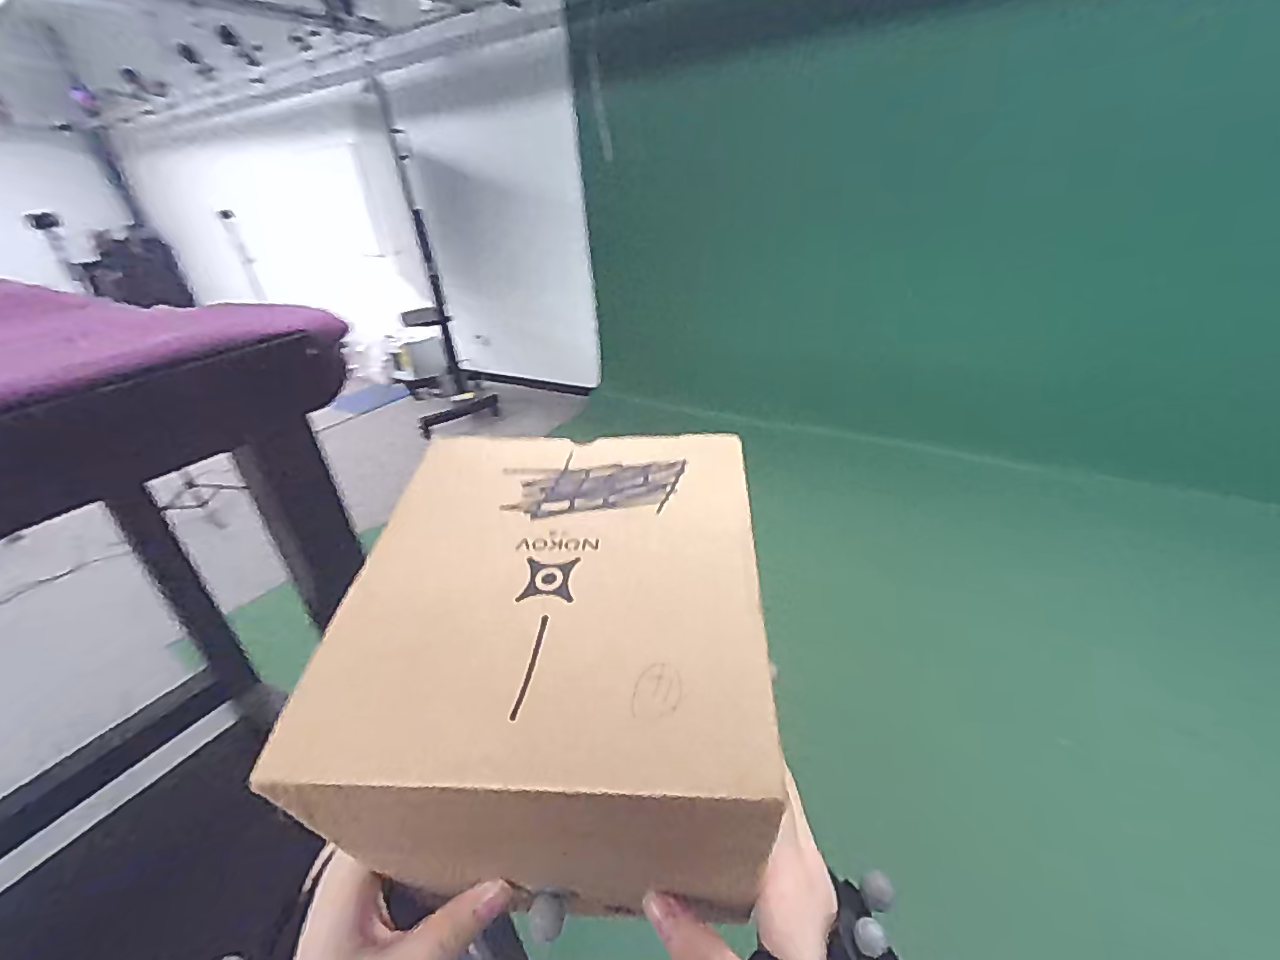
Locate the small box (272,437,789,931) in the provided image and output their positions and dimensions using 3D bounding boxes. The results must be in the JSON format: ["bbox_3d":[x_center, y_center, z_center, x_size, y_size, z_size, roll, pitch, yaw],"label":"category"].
[{"bbox_3d":[-0.025,0.095,0.276,0.168,0.176,0.179,-1,41,7],"label":"small box"}]
